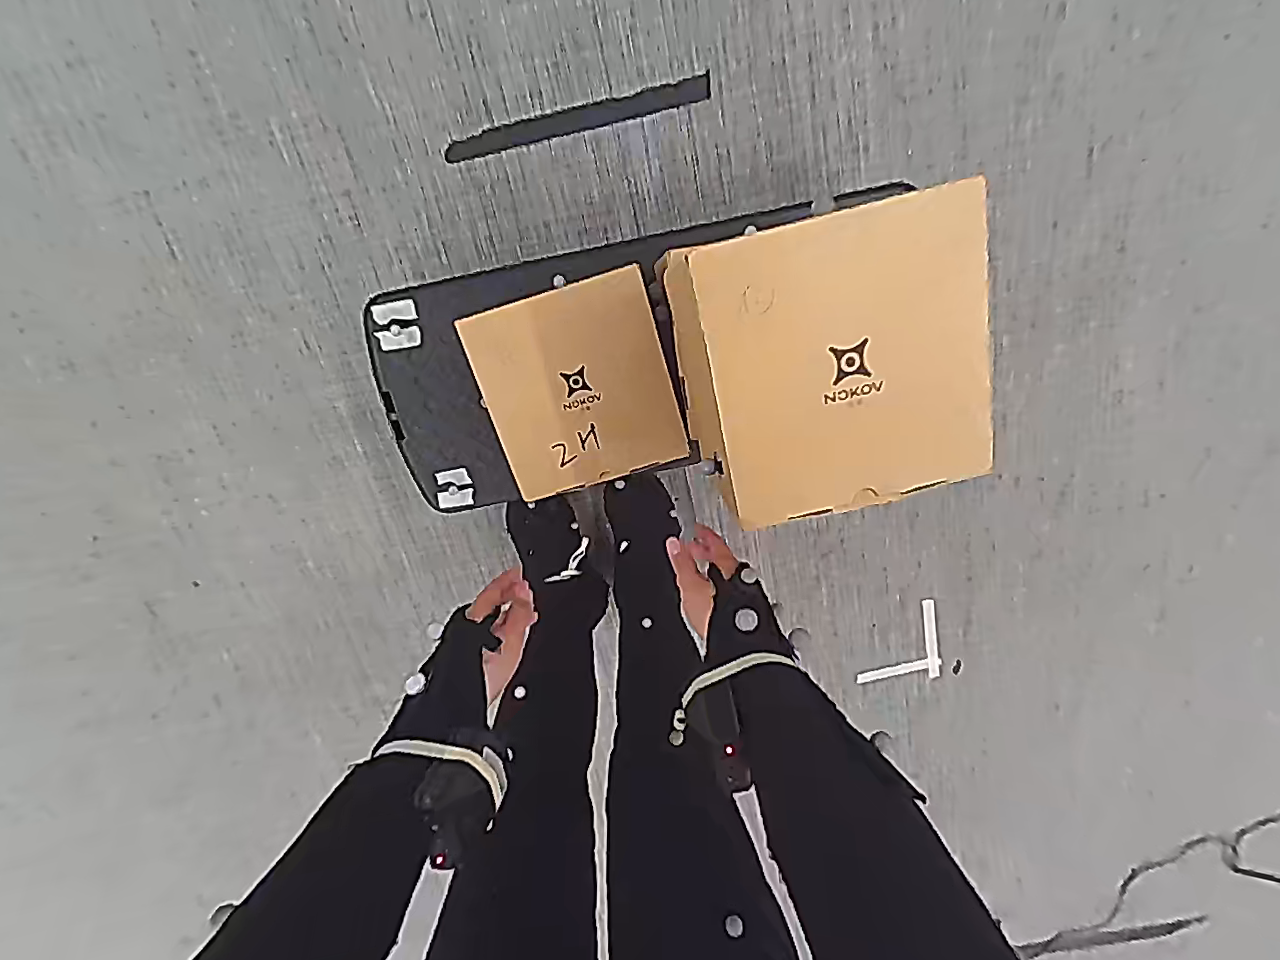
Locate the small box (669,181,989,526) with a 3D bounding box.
[{"bbox_3d":[0.123,-0.092,0.401,0.168,0.176,0.179,-14,109,2],"label":"small box"}]

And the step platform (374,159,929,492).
[{"bbox_3d":[0.026,-0.192,0.718,0.684,0.204,0.286,-11,108,3],"label":"step platform"}]
